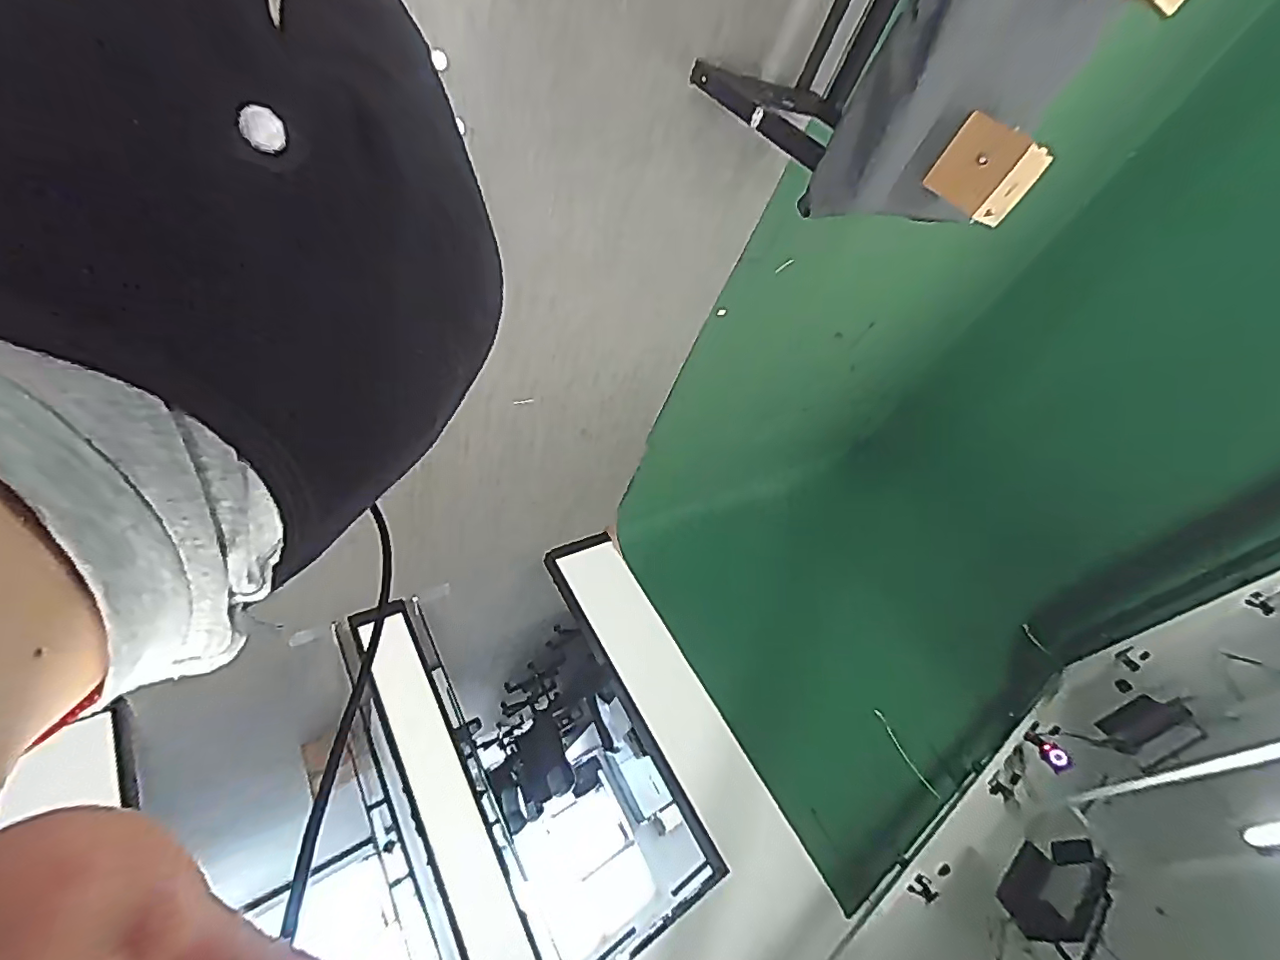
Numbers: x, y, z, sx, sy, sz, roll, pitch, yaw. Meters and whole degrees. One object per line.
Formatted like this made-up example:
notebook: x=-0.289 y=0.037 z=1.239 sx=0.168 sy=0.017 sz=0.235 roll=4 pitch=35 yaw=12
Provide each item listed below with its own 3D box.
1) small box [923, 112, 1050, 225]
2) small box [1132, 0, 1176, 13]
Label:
small box: x=0.842 y=-0.762 z=1.325 sx=0.168 sy=0.176 sz=0.179 roll=-11 pitch=145 yaw=-39
small box: x=0.987 y=-1.045 z=1.026 sx=0.168 sy=0.176 sz=0.179 roll=-15 pitch=149 yaw=-33
